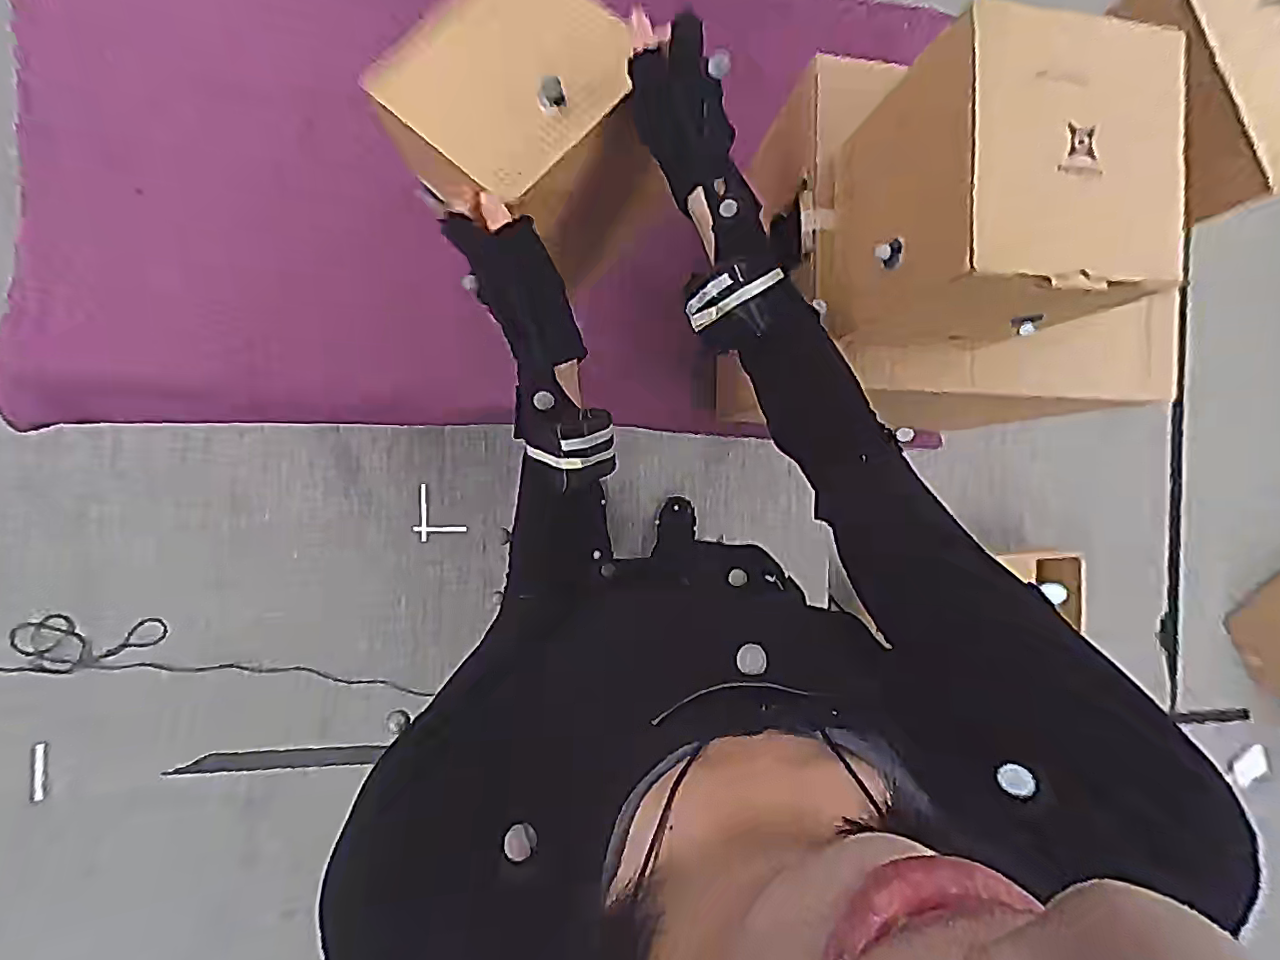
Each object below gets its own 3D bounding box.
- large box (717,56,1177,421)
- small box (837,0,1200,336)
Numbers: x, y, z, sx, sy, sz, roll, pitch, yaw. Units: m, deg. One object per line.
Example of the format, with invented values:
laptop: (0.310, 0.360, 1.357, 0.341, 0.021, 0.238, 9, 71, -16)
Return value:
large box: (0.332, -0.244, 0.677, 0.408, 0.320, 0.320, 0, 91, -9)
small box: (0.270, -0.218, 0.421, 0.168, 0.176, 0.179, -1, 90, -10)
